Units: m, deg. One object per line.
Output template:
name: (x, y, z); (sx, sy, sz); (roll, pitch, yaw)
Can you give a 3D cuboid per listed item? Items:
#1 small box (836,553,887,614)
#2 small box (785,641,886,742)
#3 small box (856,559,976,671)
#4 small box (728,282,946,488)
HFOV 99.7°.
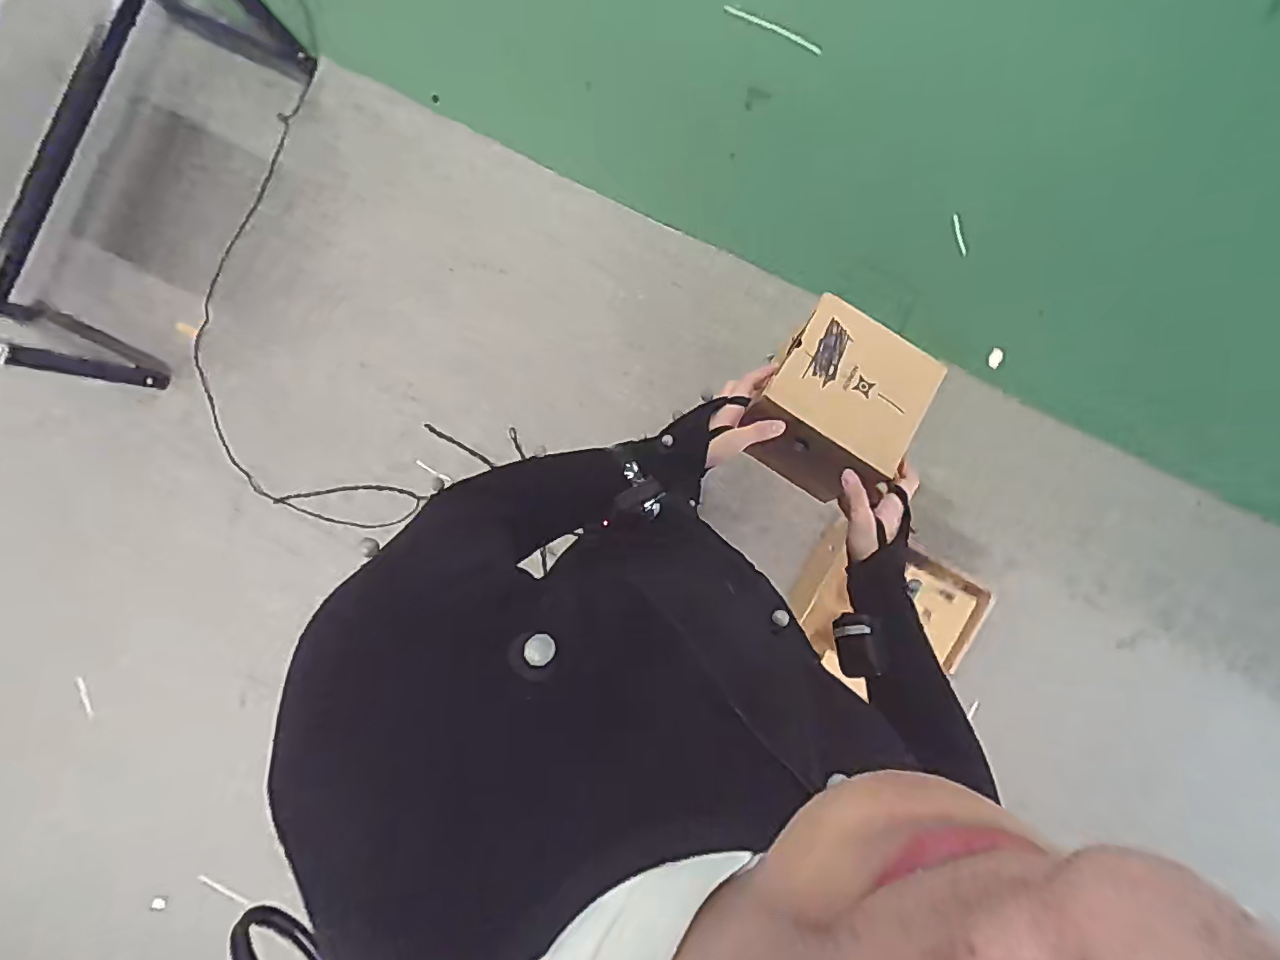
small box: (0.652, 0.308, 1.439); (0.179, 0.176, 0.168); (30, 92, 3)
small box: (0.512, 0.553, 1.447); (0.179, 0.176, 0.168); (32, 92, 4)
small box: (0.636, 0.308, 1.275); (0.168, 0.176, 0.179); (29, 93, 3)
small box: (0.237, -0.107, 0.693); (0.179, 0.176, 0.168); (32, 77, 0)
